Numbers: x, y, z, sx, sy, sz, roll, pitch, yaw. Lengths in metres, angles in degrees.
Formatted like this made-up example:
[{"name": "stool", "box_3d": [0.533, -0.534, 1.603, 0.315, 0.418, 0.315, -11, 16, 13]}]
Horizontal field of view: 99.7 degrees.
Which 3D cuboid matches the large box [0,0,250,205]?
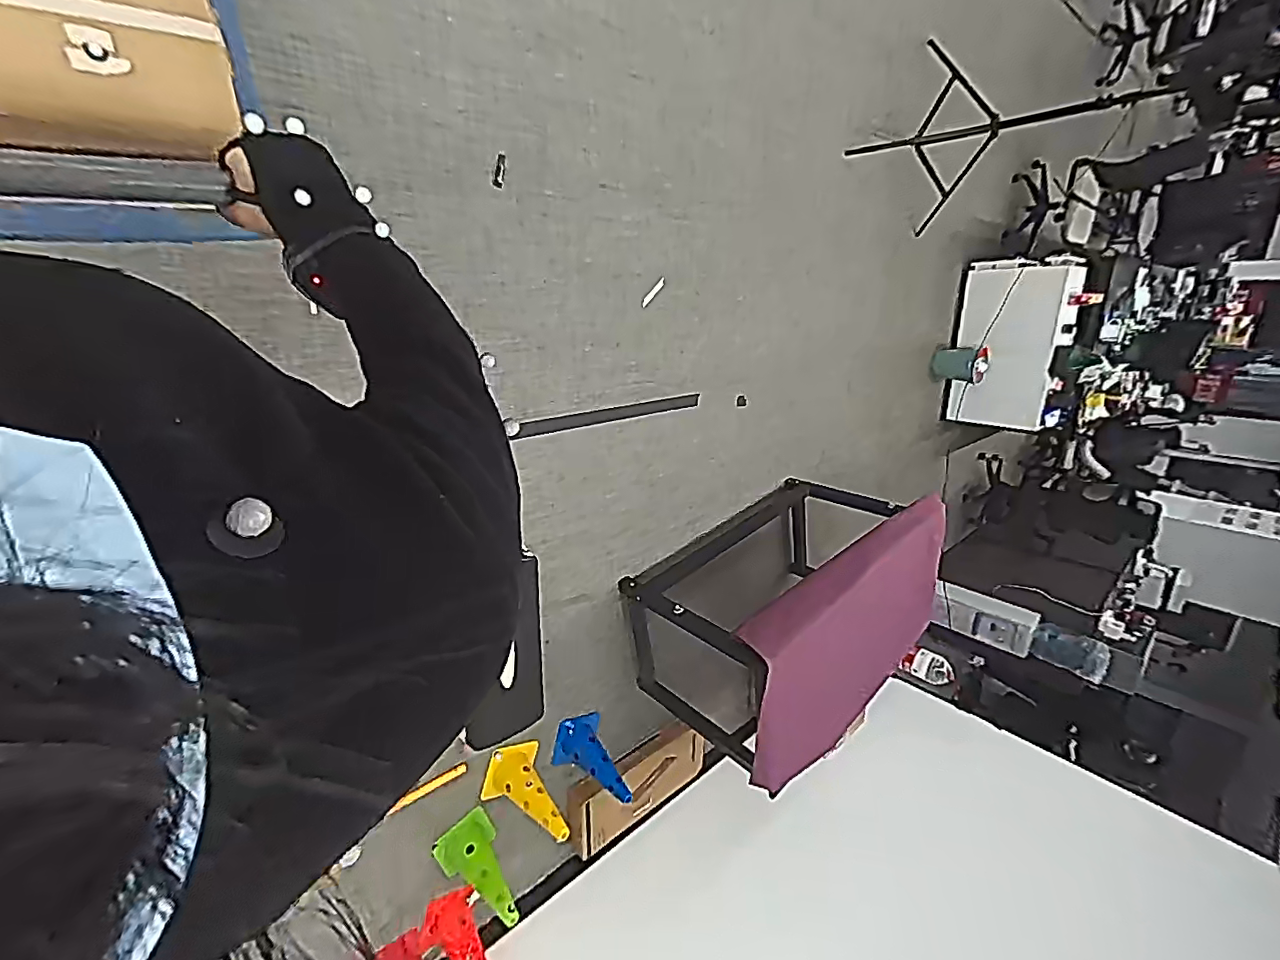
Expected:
[{"name": "large box", "box_3d": [-0.818, -0.563, 0.715, 0.408, 0.320, 0.320, -19, 116, -38]}]
